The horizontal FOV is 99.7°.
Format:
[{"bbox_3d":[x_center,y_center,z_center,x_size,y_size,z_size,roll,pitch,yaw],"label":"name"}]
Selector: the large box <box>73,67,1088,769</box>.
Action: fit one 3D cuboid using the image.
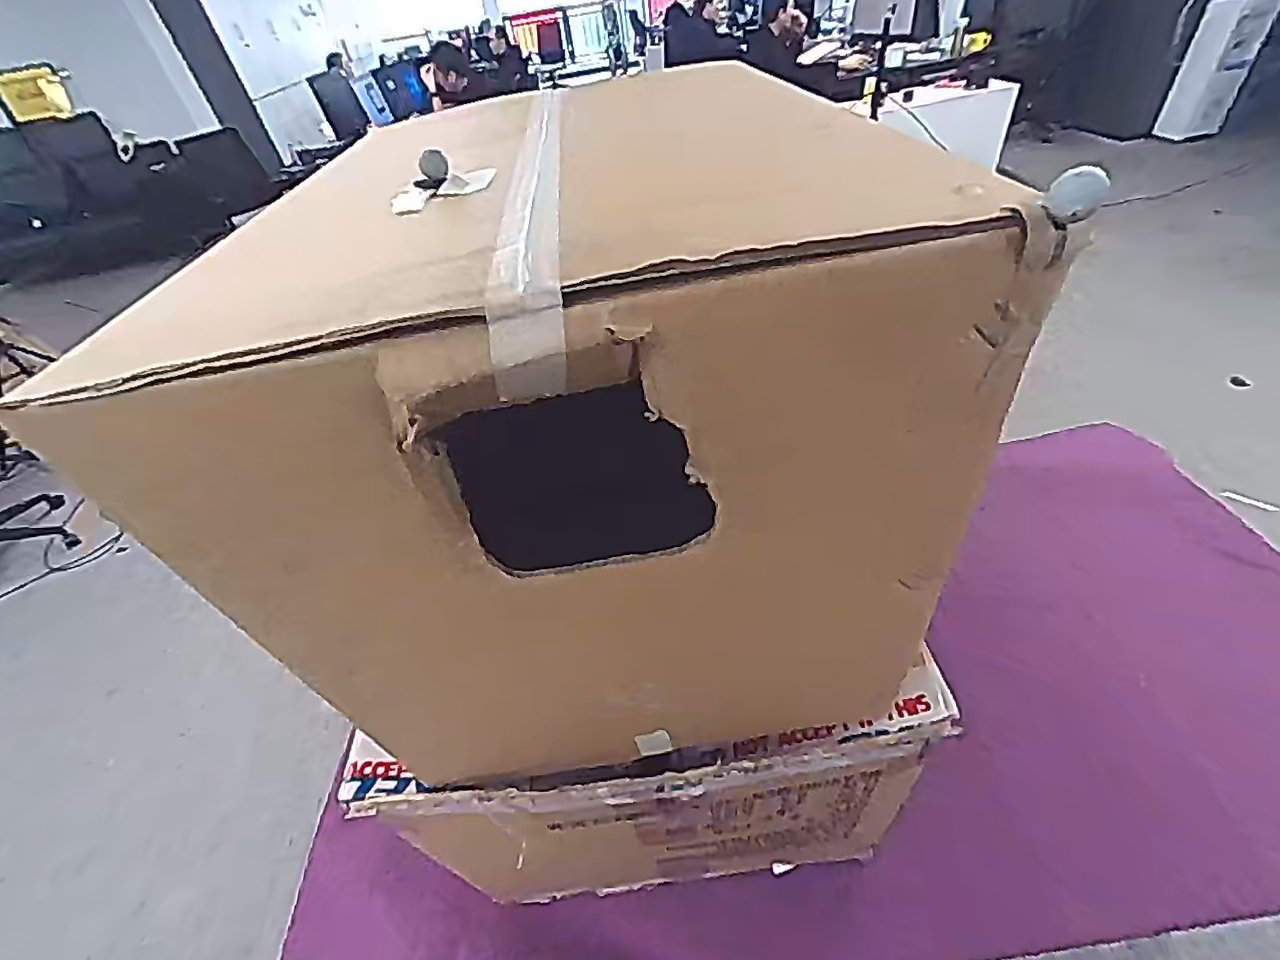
[{"bbox_3d":[-0.023,-0.071,0.401,0.320,0.320,0.408,-11,43,1],"label":"large box"}]
